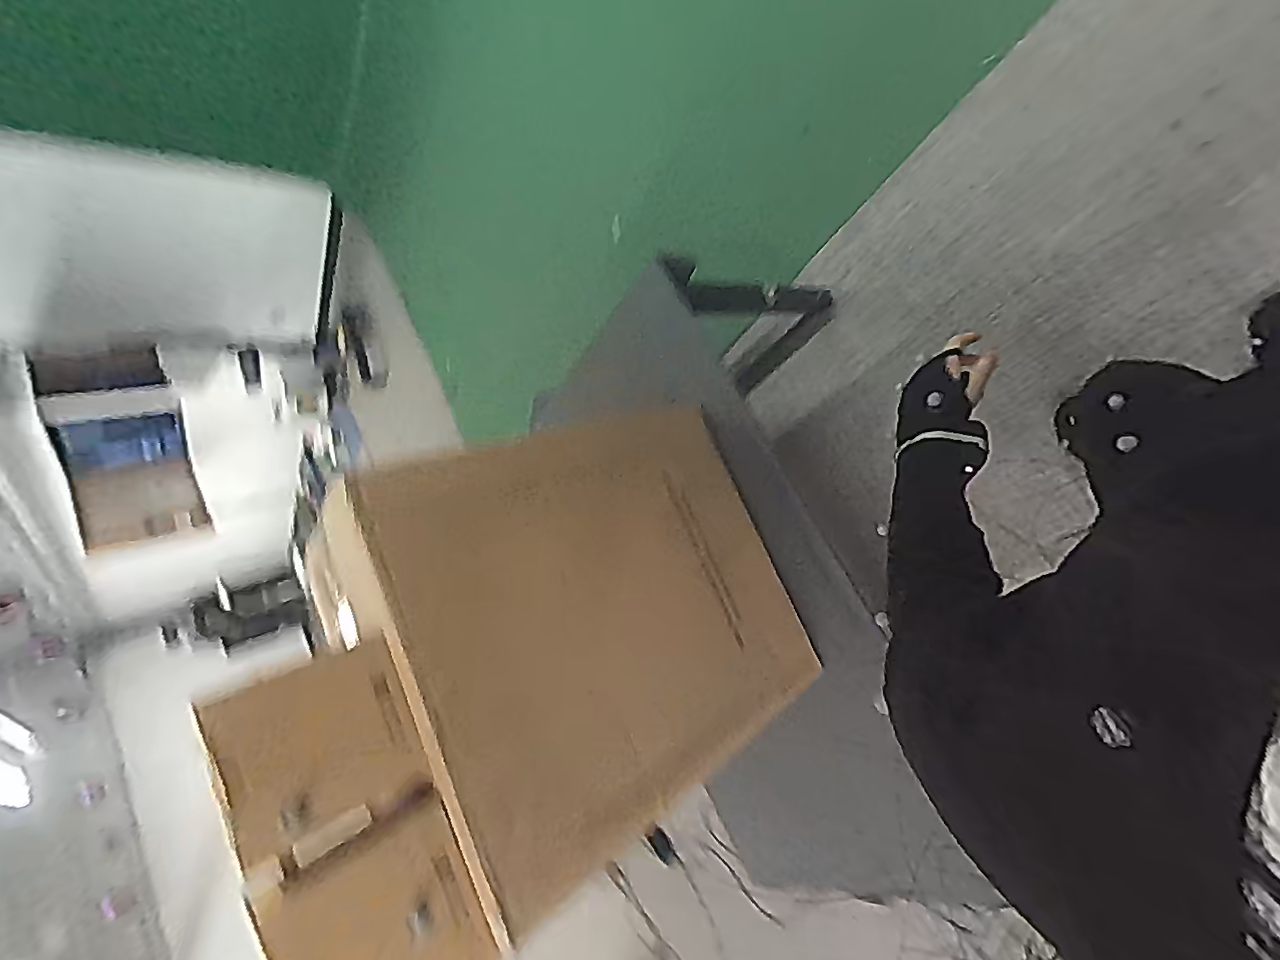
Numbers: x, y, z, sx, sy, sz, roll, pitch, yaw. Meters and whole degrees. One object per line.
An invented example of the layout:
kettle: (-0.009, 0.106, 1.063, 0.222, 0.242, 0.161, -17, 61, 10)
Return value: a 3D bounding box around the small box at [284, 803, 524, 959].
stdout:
small box: (-0.250, 0.472, 0.573, 0.179, 0.176, 0.168, -37, 77, 46)
